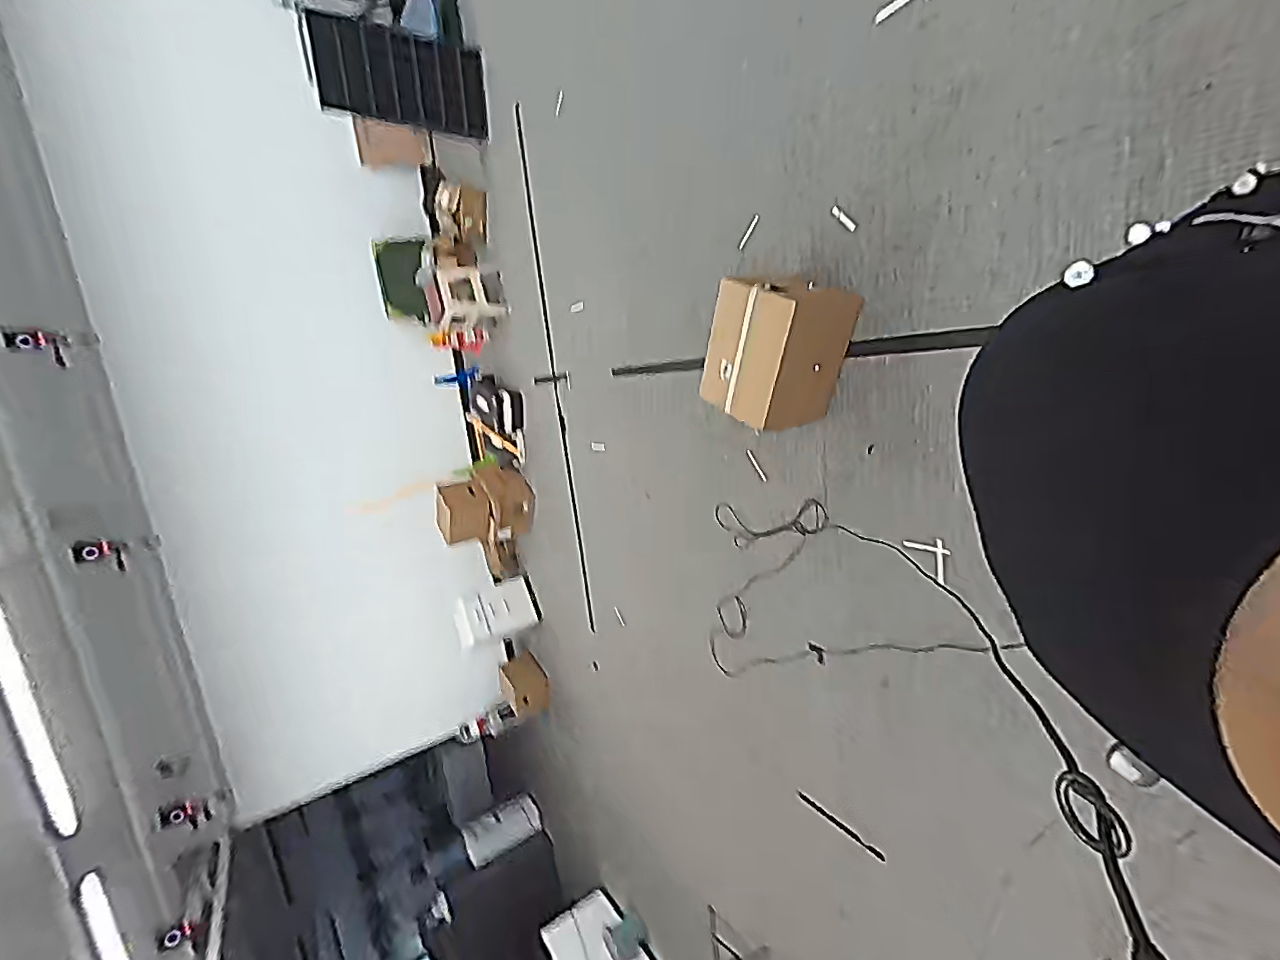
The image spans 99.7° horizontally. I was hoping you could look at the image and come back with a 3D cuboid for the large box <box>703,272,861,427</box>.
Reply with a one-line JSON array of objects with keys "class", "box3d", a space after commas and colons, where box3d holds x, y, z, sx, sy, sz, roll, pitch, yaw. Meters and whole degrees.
[{"class": "large box", "box3d": [0.446, -0.434, 1.747, 0.320, 0.320, 0.408, 41, 134, 43]}]
